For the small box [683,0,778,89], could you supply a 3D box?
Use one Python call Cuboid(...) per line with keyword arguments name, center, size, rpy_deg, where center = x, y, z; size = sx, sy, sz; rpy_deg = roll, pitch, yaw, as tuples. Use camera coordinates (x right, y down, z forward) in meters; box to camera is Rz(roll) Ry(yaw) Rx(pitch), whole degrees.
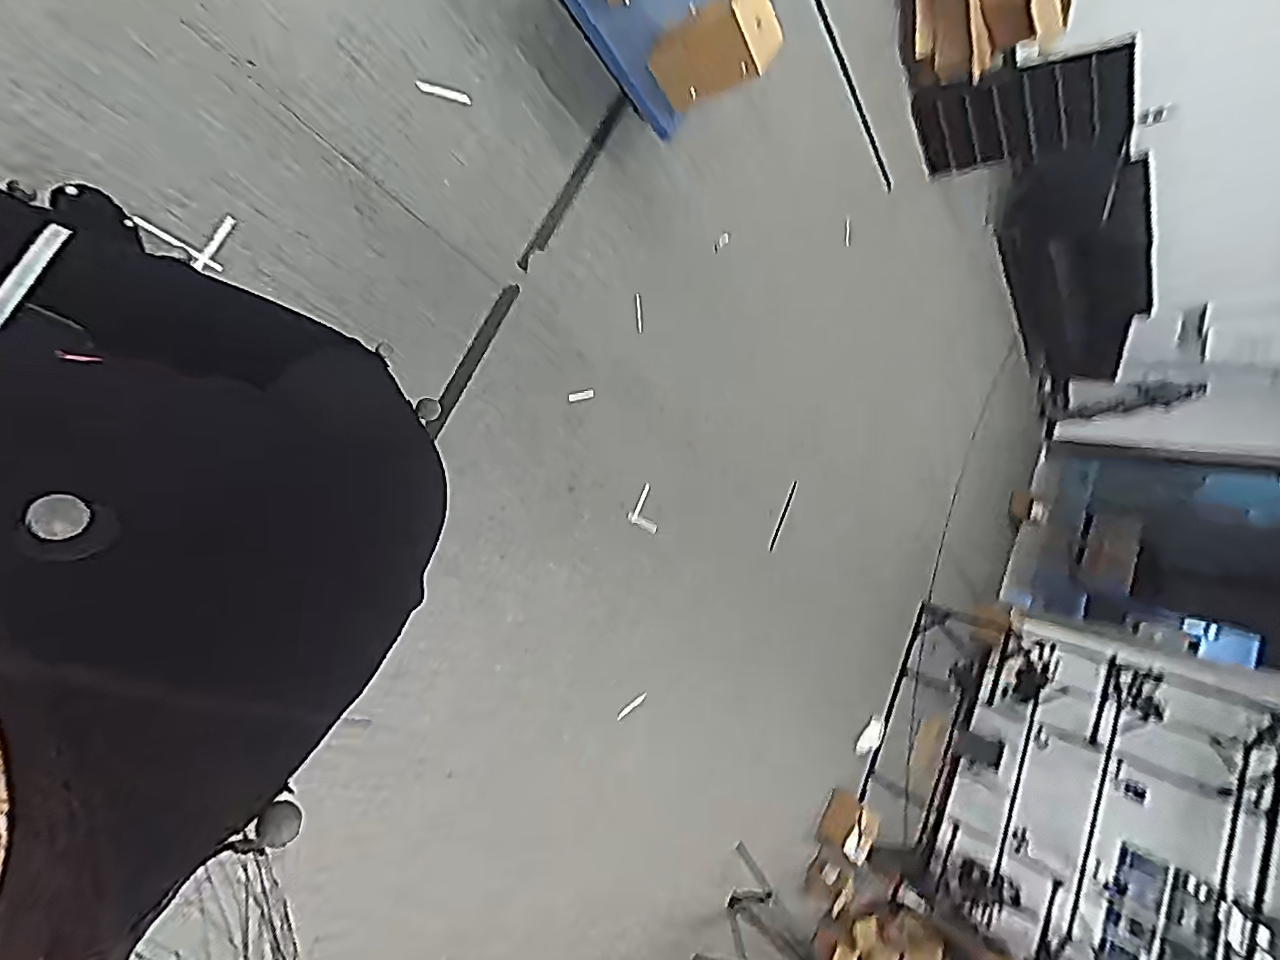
Cuboid(name="small box", center=(0.248, -1.238, 1.495), size=(0.179, 0.176, 0.168), rpy_deg=(43, 69, -41))
